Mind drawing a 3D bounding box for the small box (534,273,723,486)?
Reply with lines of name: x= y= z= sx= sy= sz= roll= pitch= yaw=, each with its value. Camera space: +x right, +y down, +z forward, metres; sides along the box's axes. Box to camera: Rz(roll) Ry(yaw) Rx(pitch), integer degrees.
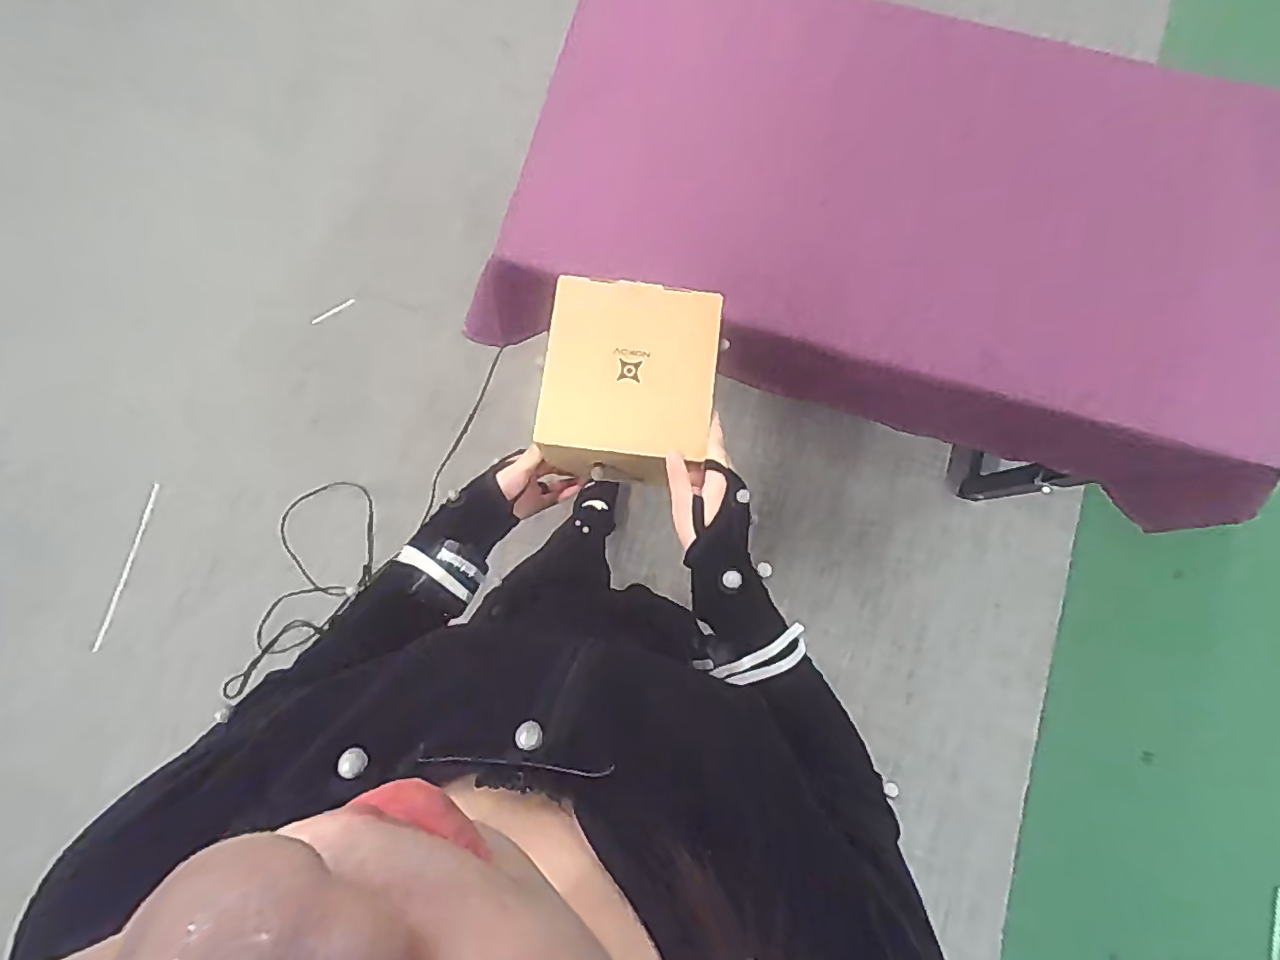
small box: x=-0.009 y=-0.097 z=0.598 sx=0.168 sy=0.176 sz=0.179 roll=7 pitch=78 yaw=1
